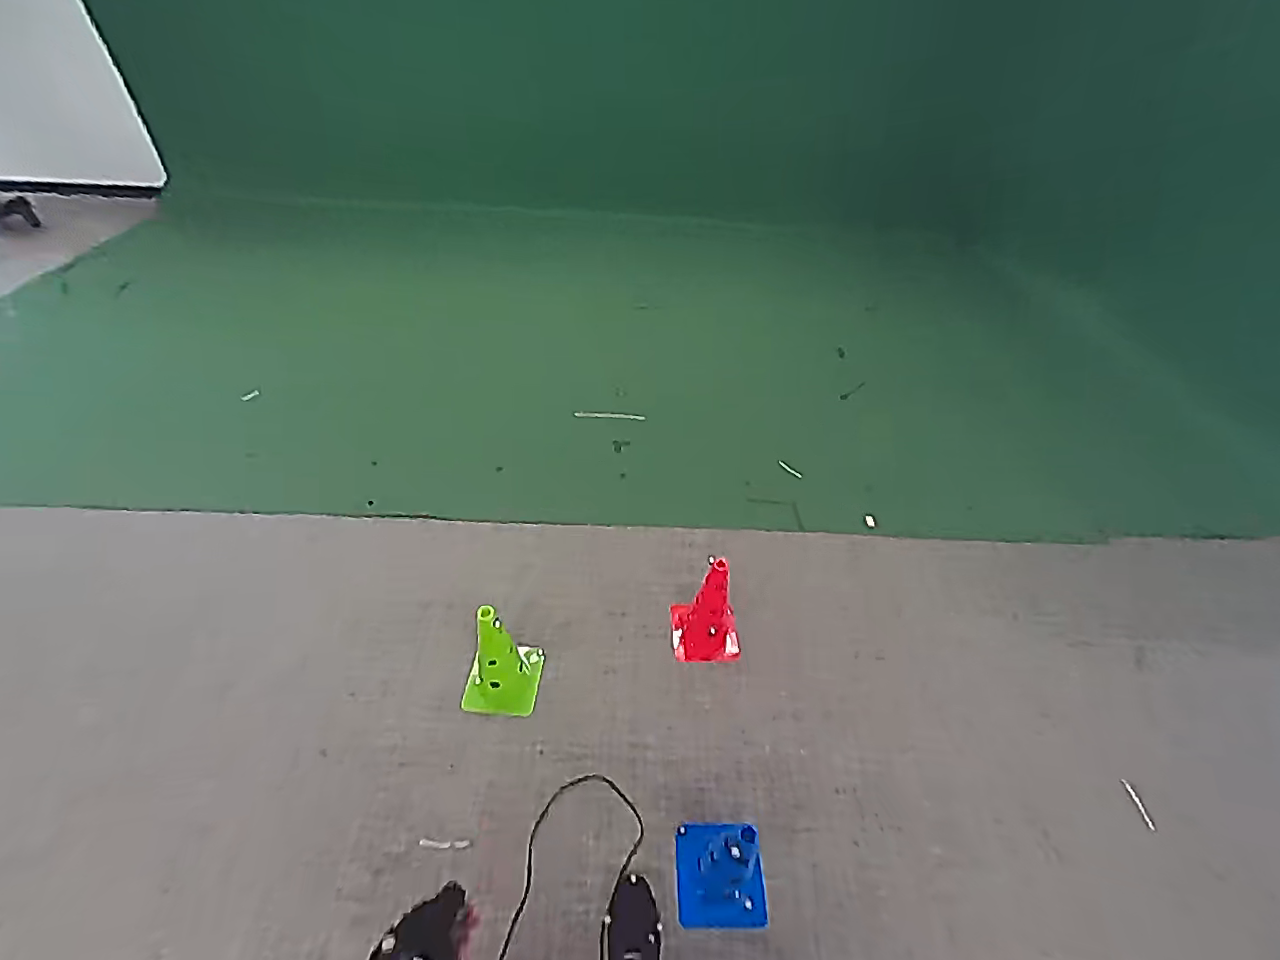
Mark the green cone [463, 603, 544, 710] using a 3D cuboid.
[{"bbox_3d":[-0.381,0.433,1.427,0.200,0.368,0.202,4,46,1],"label":"green cone"}]
